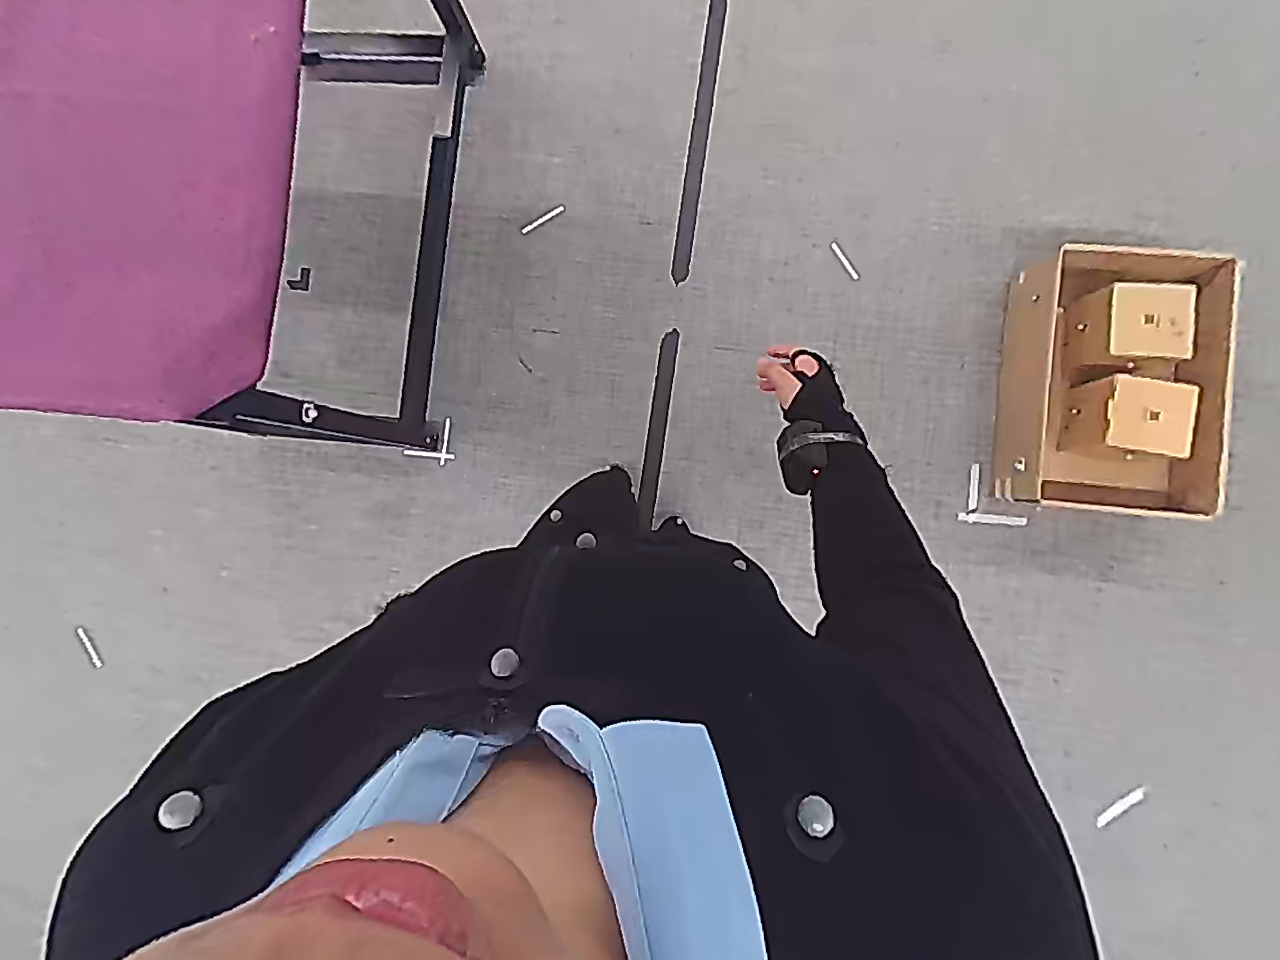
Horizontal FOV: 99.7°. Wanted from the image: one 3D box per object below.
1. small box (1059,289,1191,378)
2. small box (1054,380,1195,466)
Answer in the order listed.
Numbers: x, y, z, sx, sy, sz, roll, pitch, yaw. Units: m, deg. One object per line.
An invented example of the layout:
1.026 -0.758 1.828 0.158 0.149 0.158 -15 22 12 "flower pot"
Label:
1.158 -0.347 1.306 0.179 0.176 0.168 4 90 5 "small box"
1.154 -0.129 1.300 0.179 0.176 0.168 11 88 5 "small box"
